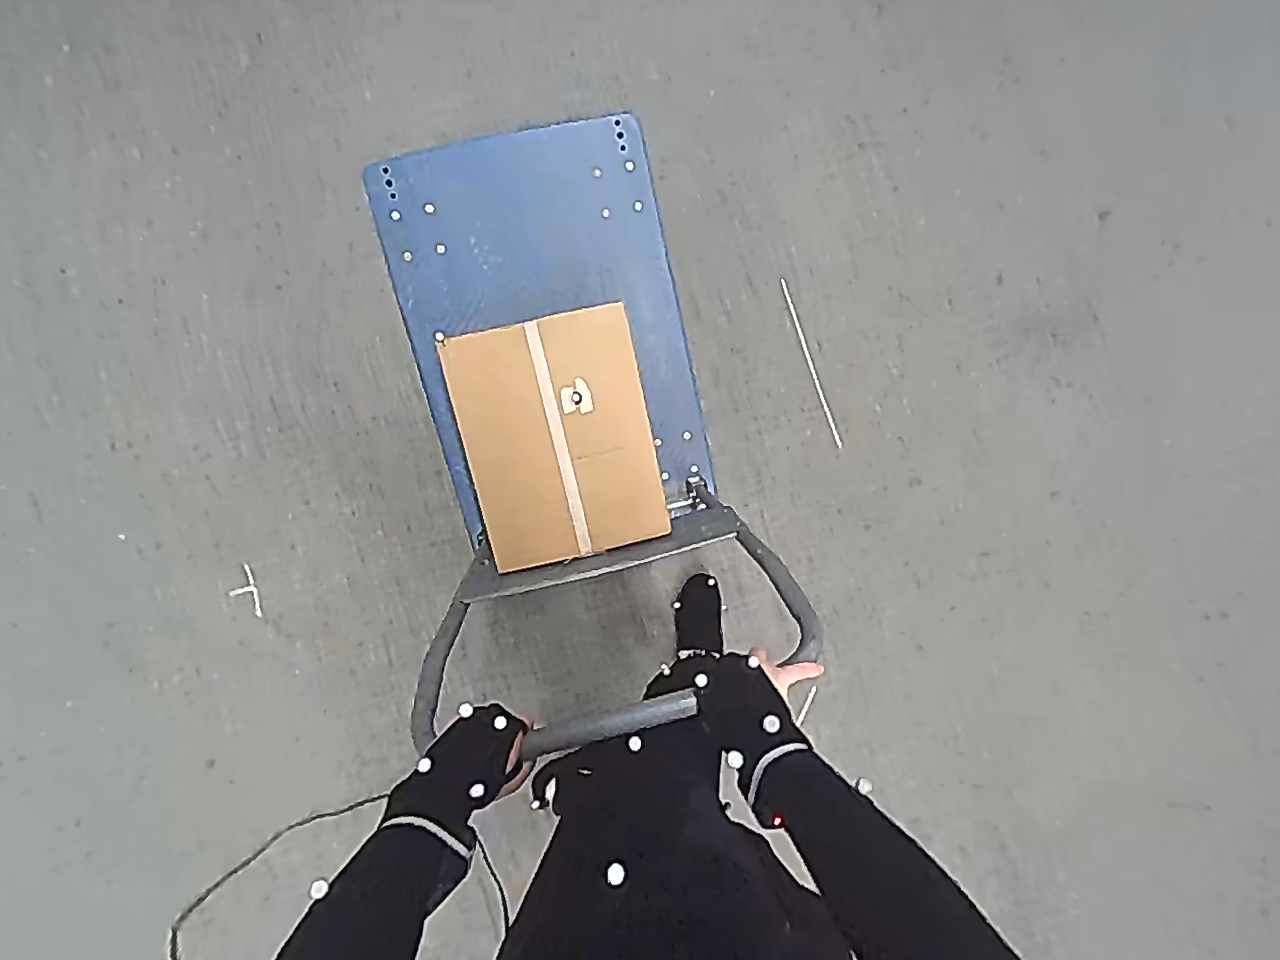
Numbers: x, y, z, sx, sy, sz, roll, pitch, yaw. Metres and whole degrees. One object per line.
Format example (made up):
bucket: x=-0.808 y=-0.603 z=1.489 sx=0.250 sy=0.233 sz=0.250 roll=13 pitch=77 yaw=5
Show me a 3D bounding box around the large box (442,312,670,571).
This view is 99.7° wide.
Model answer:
large box: x=-0.149 y=-0.081 z=1.084 sx=0.320 sy=0.320 sz=0.408 roll=-13 pitch=99 yaw=-4
